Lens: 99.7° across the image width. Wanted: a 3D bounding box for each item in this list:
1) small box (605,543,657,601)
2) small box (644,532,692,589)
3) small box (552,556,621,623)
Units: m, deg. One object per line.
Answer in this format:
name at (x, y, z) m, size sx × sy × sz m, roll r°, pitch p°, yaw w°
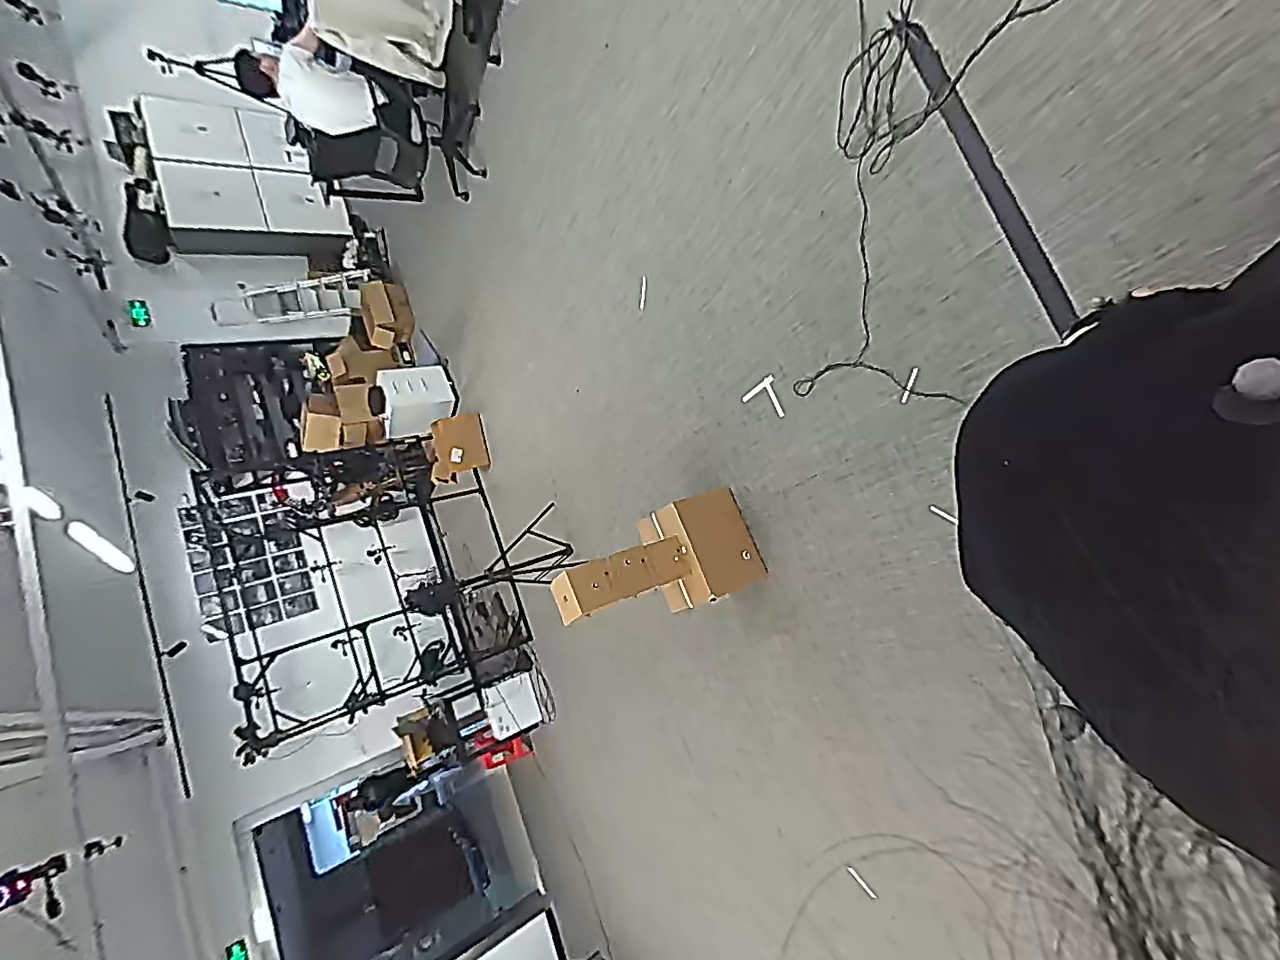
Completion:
small box at (-0.056, 0.350, 2.032) m, size 0.179 × 0.176 × 0.168 m, roll -42°, pitch 67°, yaw 54°
small box at (0.074, 0.322, 2.126) m, size 0.179 × 0.176 × 0.168 m, roll -39°, pitch 71°, yaw 53°
small box at (-0.189, 0.389, 1.943) m, size 0.179 × 0.176 × 0.168 m, roll -47°, pitch 62°, yaw 51°
